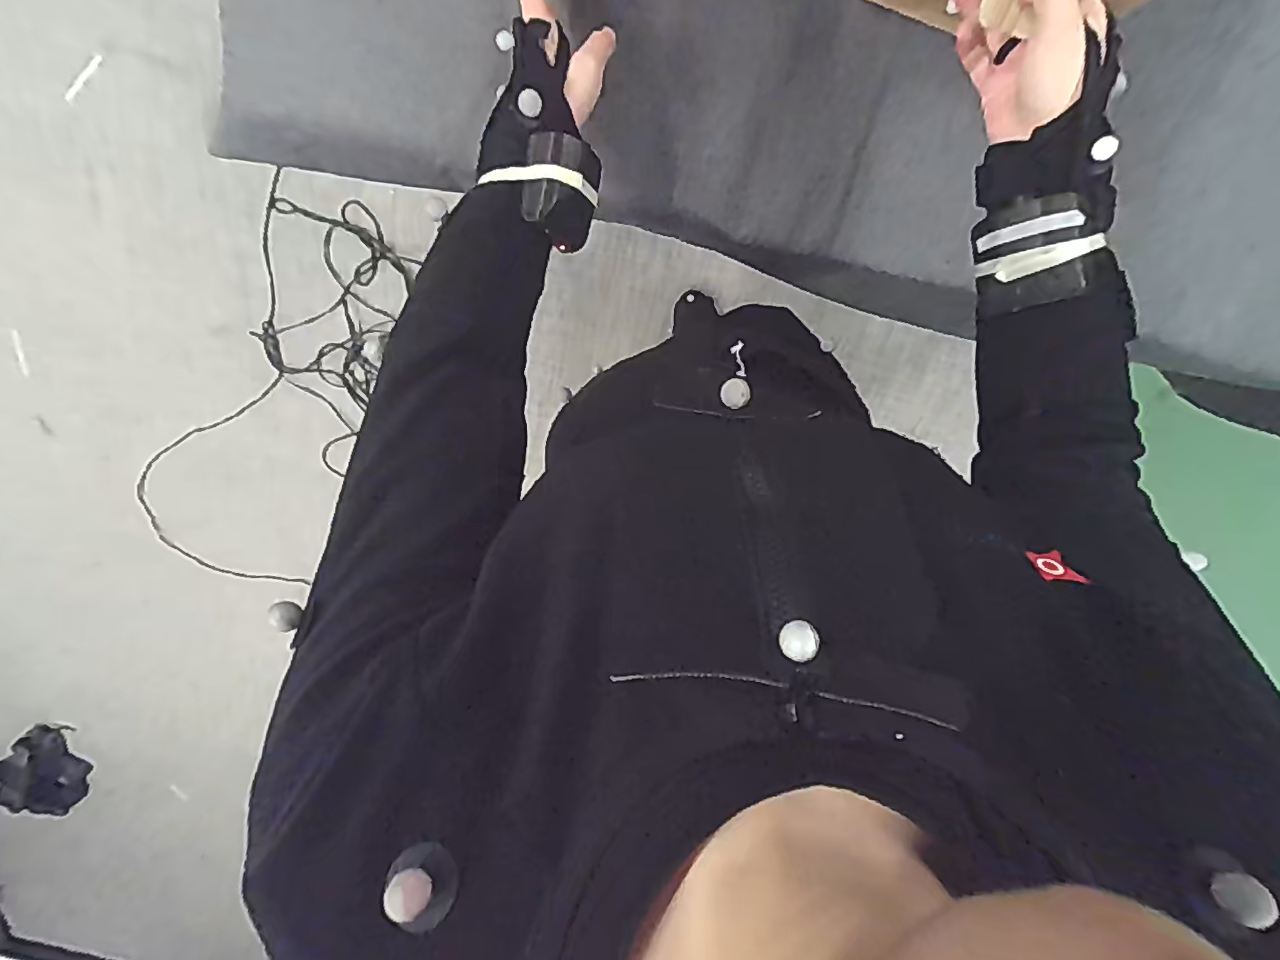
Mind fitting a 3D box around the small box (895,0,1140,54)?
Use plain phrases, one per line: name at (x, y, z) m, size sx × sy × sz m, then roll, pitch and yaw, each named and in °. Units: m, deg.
small box at (0.270, -0.413, 0.328) m, size 0.168 × 0.176 × 0.179 m, roll 19°, pitch 112°, yaw -3°
